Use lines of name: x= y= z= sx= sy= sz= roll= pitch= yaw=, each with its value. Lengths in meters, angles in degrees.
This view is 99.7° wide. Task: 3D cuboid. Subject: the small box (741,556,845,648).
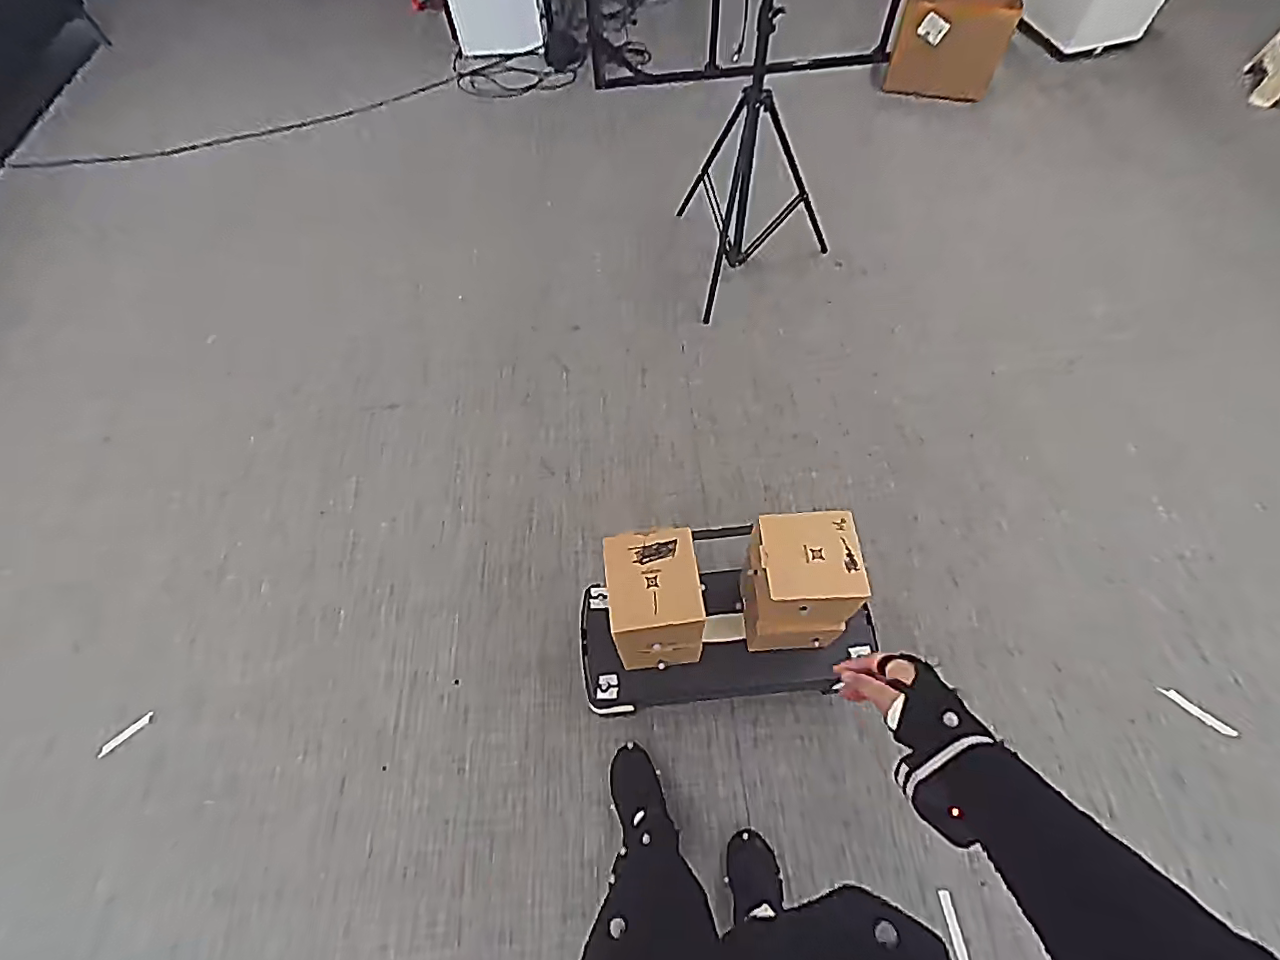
small box: x=0.314 y=0.263 z=1.164 sx=0.179 sy=0.176 sz=0.168 roll=-5 pitch=60 yaw=0

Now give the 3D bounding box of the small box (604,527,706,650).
small box: x=0.025 y=0.208 z=1.022 sx=0.168 sy=0.176 sz=0.179 roll=-7 pitch=62 yaw=-1

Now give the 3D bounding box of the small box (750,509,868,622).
small box: x=0.307 y=0.169 z=1.031 sx=0.179 sy=0.176 sz=0.168 roll=-4 pitch=61 yaw=3

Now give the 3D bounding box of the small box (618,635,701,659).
small box: x=0.035 y=0.291 z=1.163 sx=0.168 sy=0.176 sz=0.179 roll=-6 pitch=61 yaw=0

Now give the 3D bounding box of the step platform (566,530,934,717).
step platform: x=0.201 y=0.299 z=1.110 sx=0.684 sy=0.204 sz=0.286 roll=-6 pitch=61 yaw=-1
